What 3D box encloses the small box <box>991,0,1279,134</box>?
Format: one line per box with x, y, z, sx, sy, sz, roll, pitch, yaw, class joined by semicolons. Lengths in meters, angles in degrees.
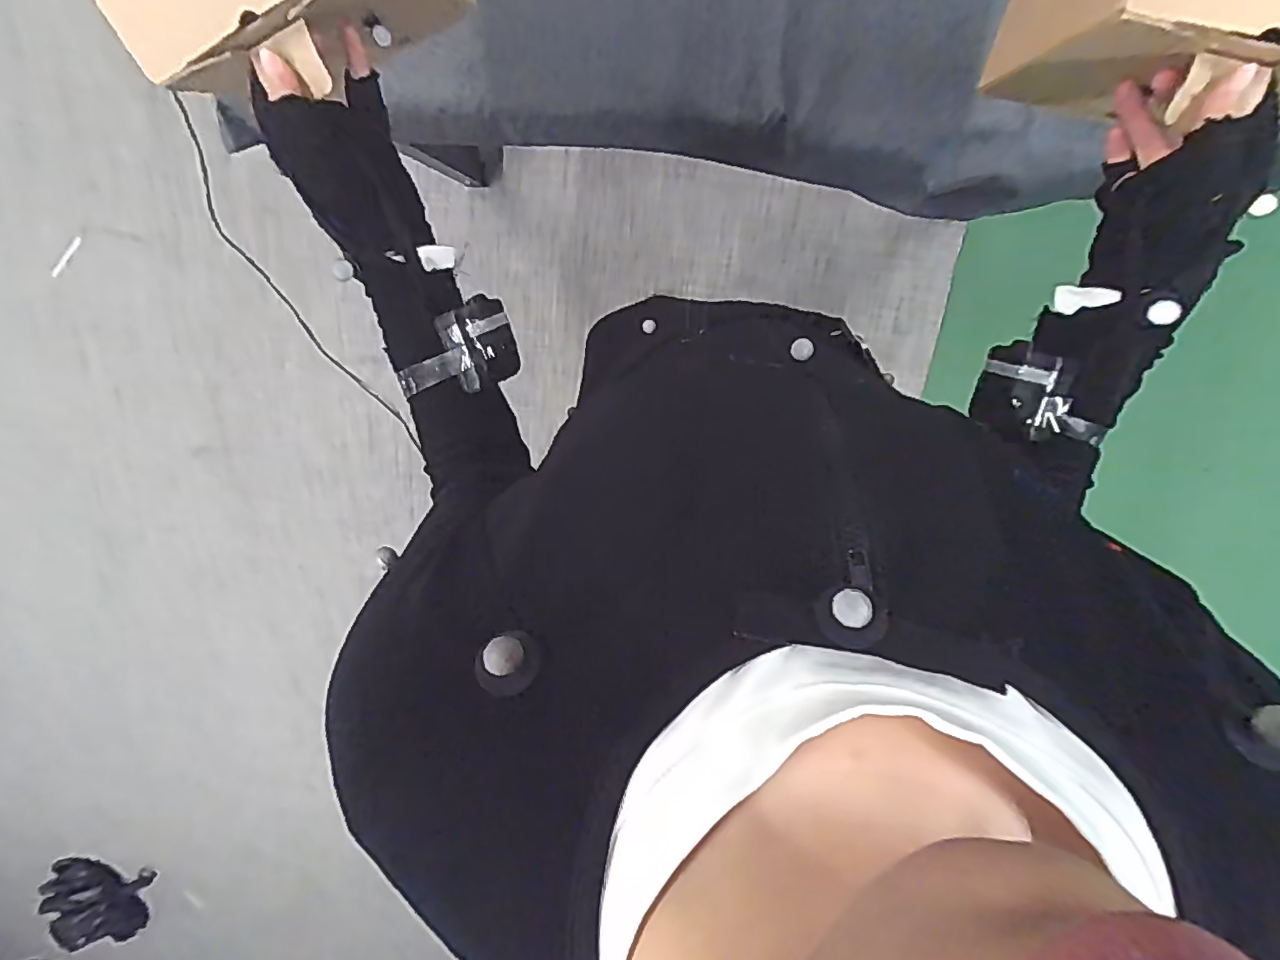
0.361;-0.338;0.335;0.168;0.176;0.179;13;115;0;small box

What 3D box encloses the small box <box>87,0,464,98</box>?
-0.240;-0.365;0.332;0.168;0.176;0.179;-15;118;17;small box
